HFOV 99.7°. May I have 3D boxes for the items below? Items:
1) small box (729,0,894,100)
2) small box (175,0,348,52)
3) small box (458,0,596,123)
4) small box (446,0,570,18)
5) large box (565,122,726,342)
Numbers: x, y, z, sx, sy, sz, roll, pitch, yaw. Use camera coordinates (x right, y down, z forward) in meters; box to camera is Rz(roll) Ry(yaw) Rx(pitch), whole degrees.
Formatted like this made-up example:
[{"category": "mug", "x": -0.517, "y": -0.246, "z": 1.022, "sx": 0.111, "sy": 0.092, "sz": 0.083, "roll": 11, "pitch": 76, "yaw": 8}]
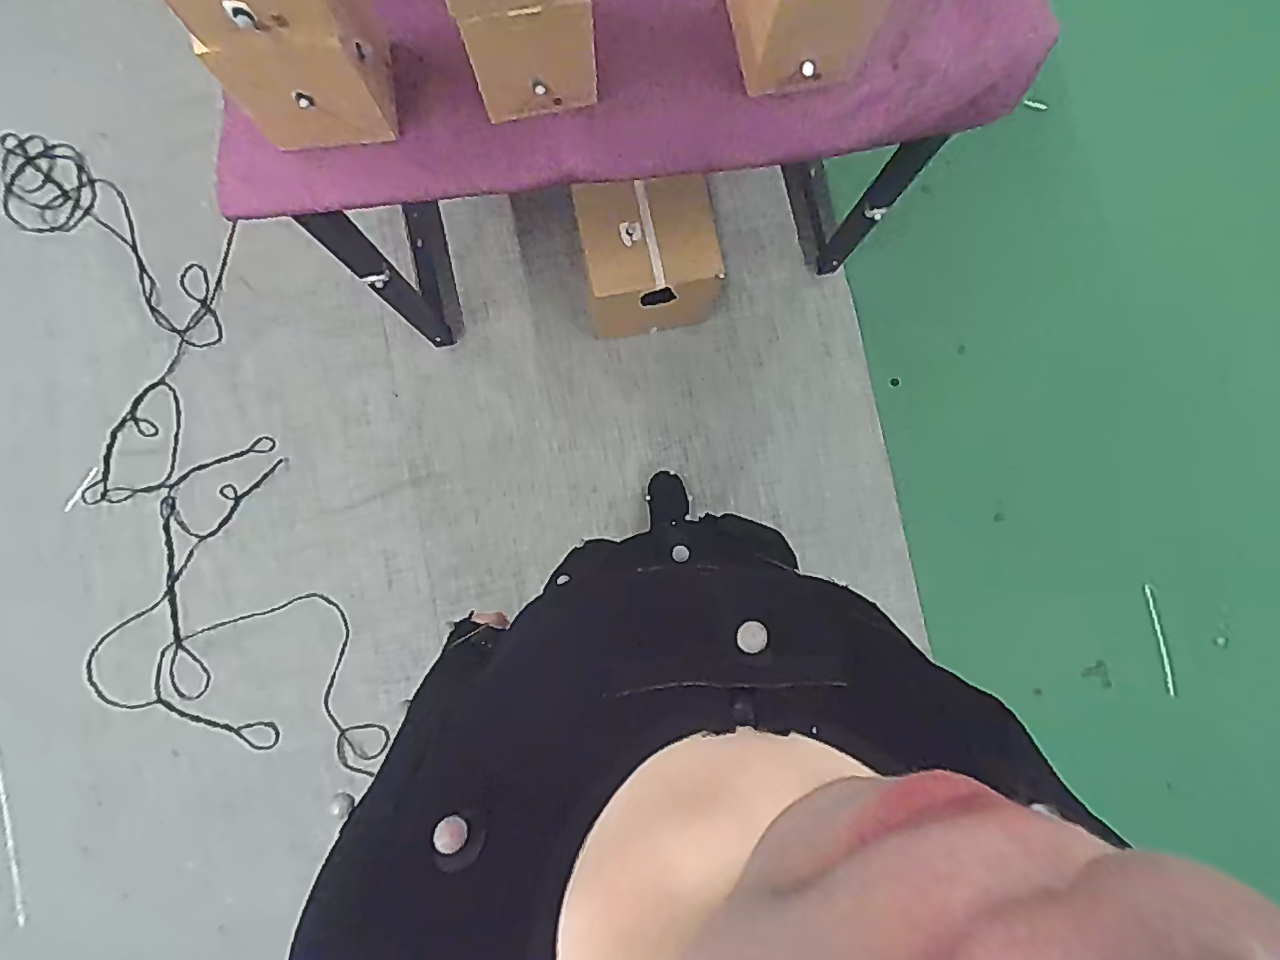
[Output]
[{"category": "small box", "x": 0.233, "y": -0.688, "z": 0.761, "sx": 0.168, "sy": 0.176, "sz": 0.179, "roll": -11, "pitch": 86, "yaw": -2}, {"category": "small box", "x": -0.435, "y": -0.606, "z": 0.567, "sx": 0.168, "sy": 0.176, "sz": 0.179, "roll": -9, "pitch": 85, "yaw": -1}, {"category": "small box", "x": -0.159, "y": -0.641, "z": 0.743, "sx": 0.168, "sy": 0.176, "sz": 0.179, "roll": -13, "pitch": 86, "yaw": -2}, {"category": "small box", "x": -0.155, "y": -0.653, "z": 0.580, "sx": 0.179, "sy": 0.176, "sz": 0.168, "roll": -13, "pitch": 85, "yaw": -4}, {"category": "large box", "x": 0.006, "y": -0.622, "z": 1.414, "sx": 0.320, "sy": 0.320, "sz": 0.408, "roll": -11, "pitch": 87, "yaw": -2}]
